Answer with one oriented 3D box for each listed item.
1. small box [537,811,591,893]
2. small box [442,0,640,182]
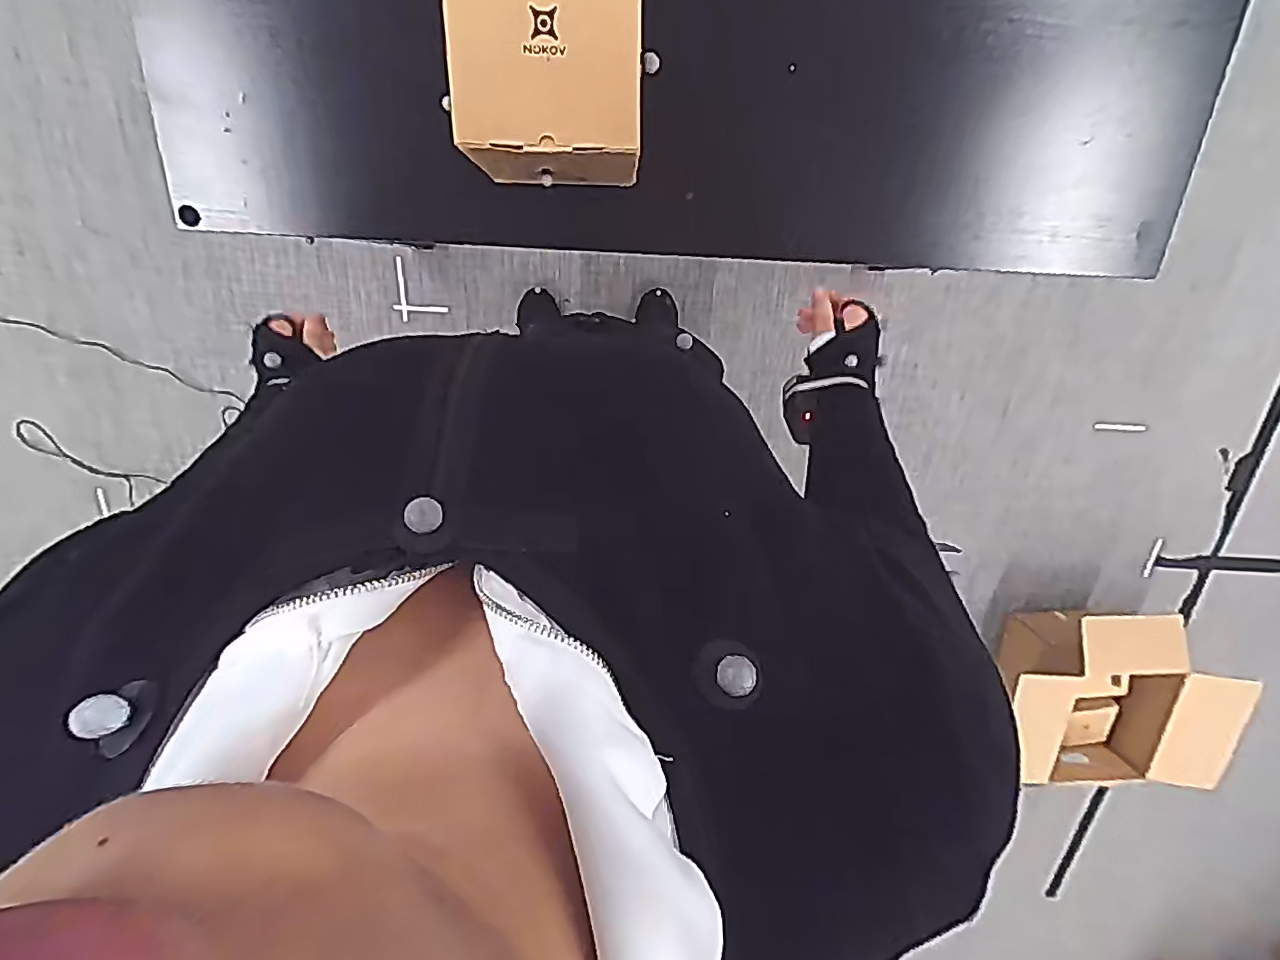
[{"bbox_3d":[-0.260,1.283,1.871,0.168,0.176,0.179,6,108,-6],"label":"small box"},{"bbox_3d":[-0.087,-0.408,0.528,0.168,0.176,0.179,0,110,-3],"label":"small box"}]
